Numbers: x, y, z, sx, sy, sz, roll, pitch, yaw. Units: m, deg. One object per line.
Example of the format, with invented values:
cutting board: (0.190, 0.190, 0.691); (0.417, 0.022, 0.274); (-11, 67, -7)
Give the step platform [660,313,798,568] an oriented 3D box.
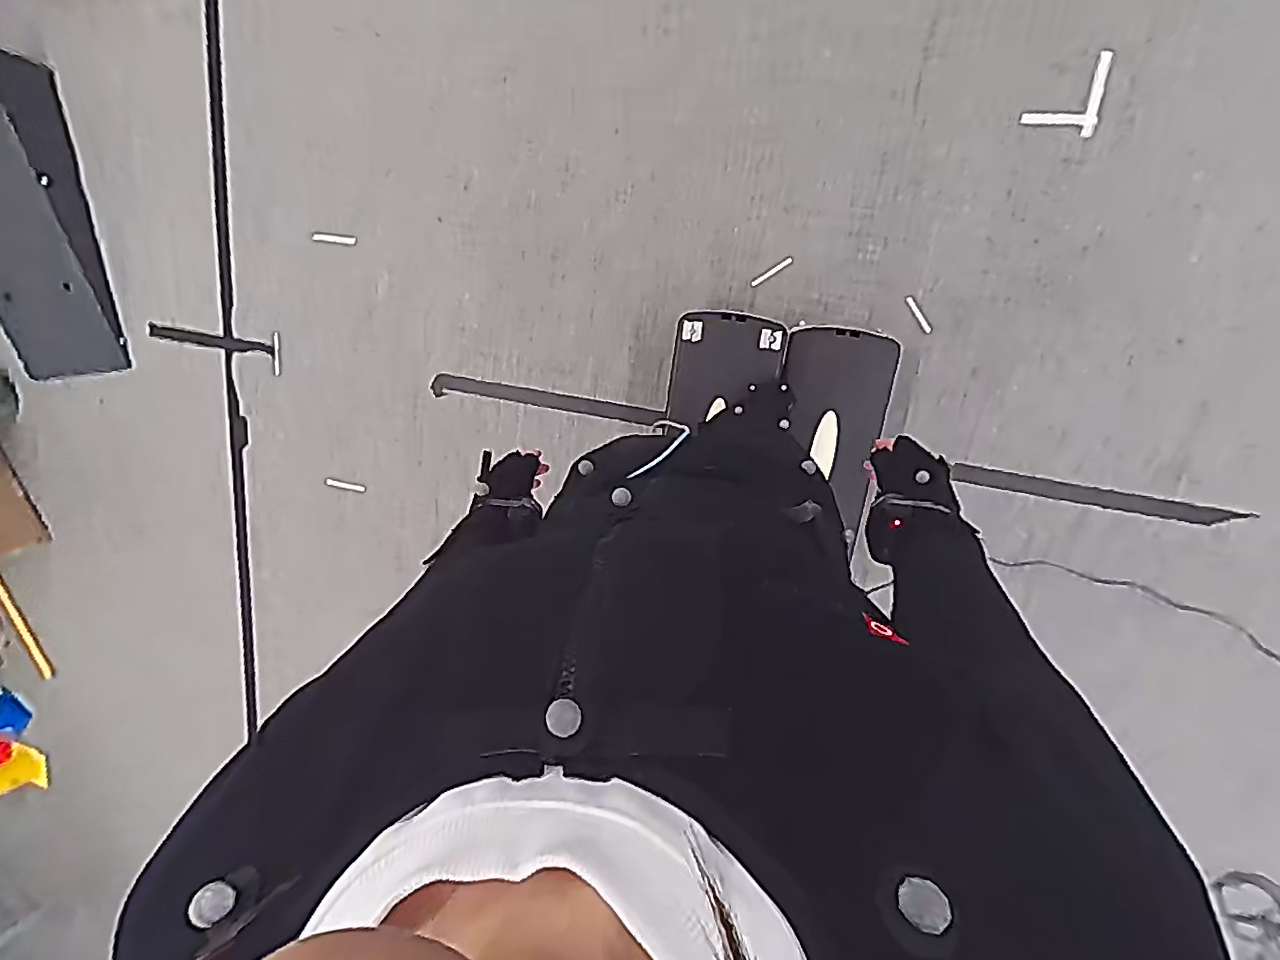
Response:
step platform: (0.235, -0.103, 1.491); (0.286, 0.204, 0.684); (9, 103, 9)
